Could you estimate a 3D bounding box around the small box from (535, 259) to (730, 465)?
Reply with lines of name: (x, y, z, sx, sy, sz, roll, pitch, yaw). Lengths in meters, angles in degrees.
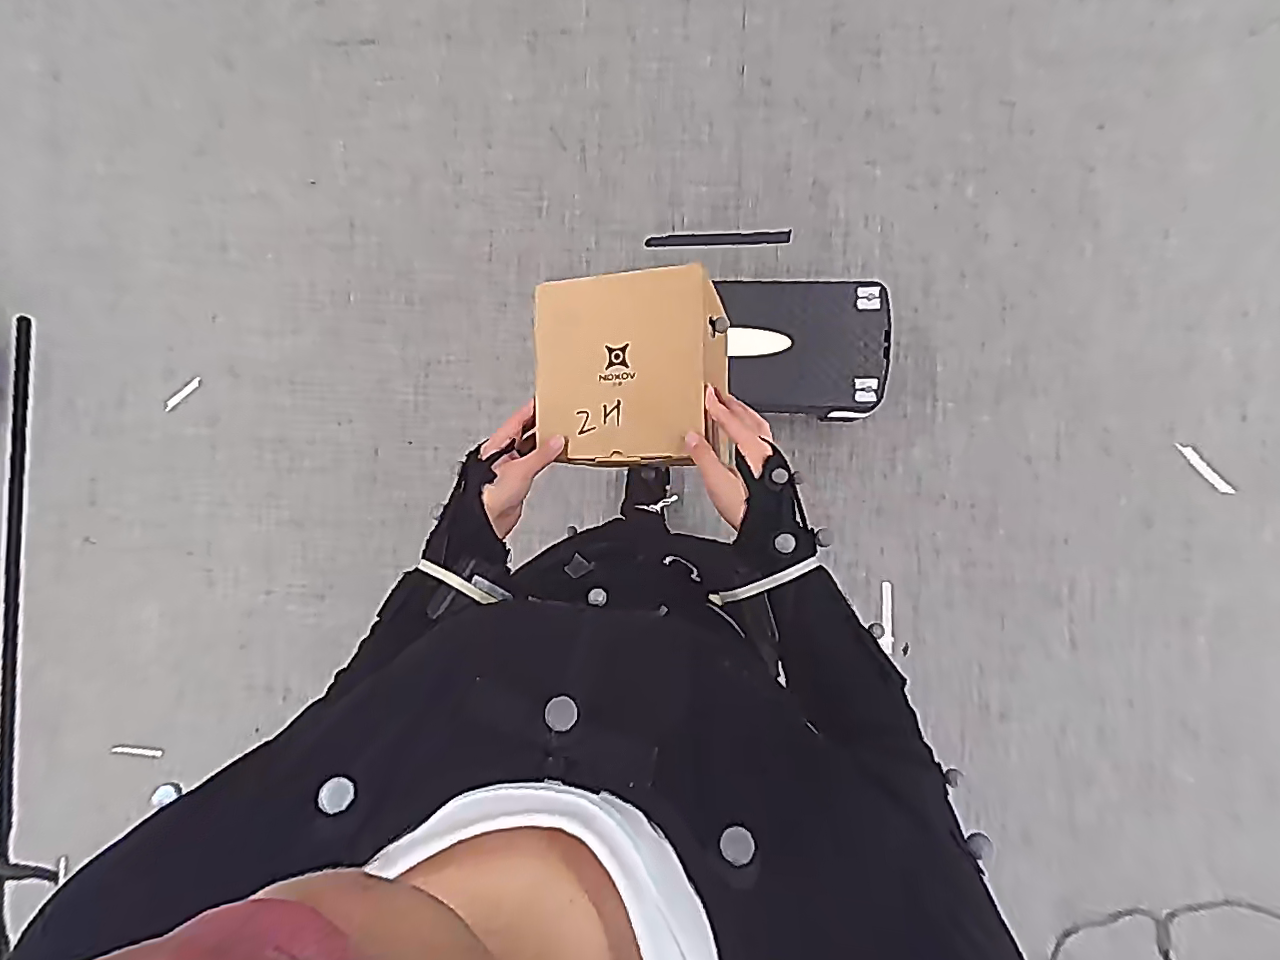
small box: (0.002, -0.107, 0.573, 0.168, 0.176, 0.179, 0, 89, 17)

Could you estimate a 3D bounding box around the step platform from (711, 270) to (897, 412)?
step platform: (0.224, -0.320, 1.261, 0.684, 0.204, 0.286, 2, 89, 6)
